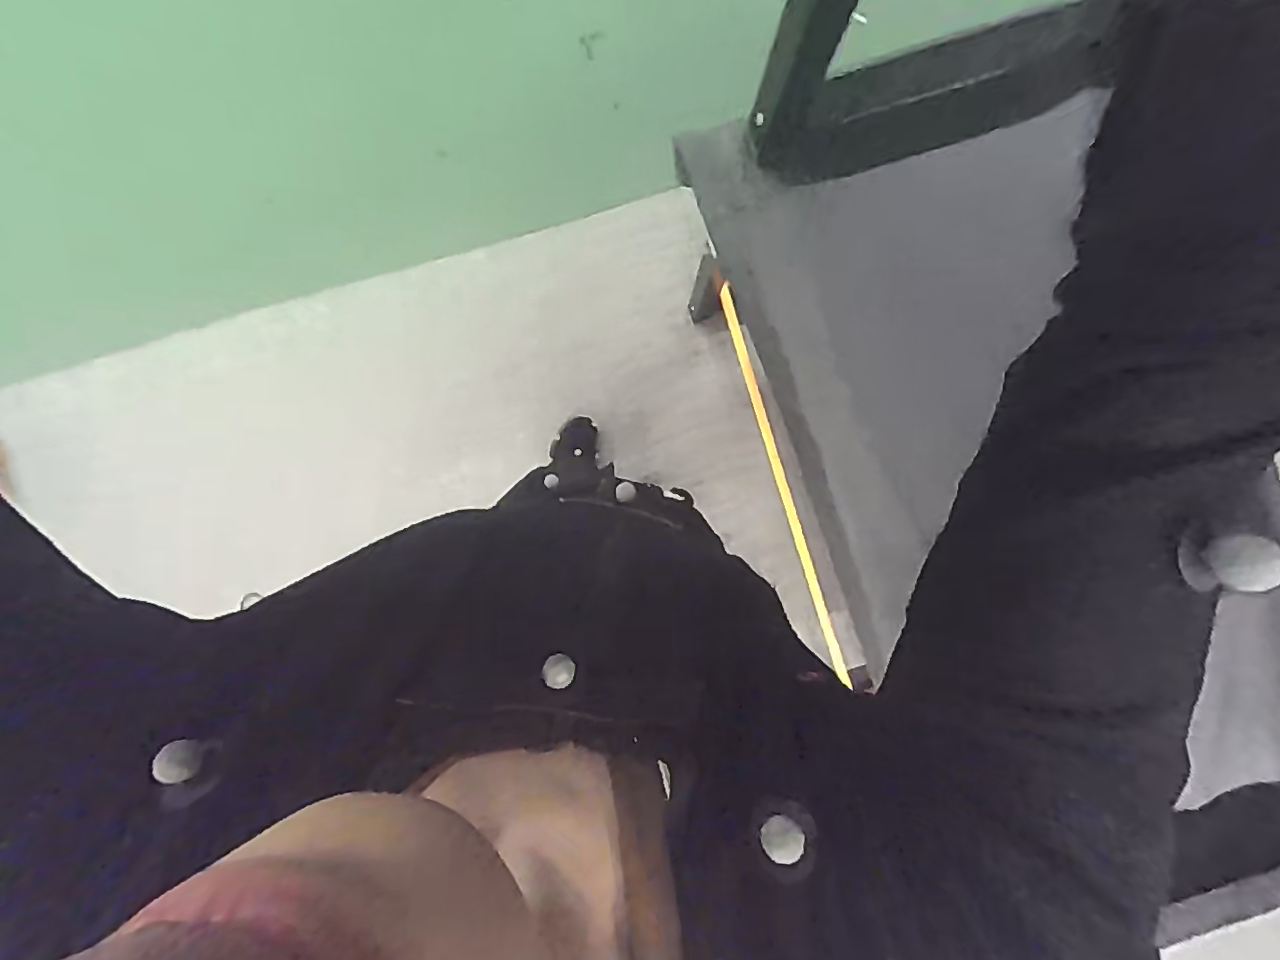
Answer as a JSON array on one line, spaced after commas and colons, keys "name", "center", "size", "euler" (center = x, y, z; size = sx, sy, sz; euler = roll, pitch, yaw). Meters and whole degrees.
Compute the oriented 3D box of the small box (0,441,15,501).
[{"name": "small box", "center": [-1.799, -0.014, 1.391], "size": [0.179, 0.176, 0.168], "euler": [-13, 89, -2]}]
